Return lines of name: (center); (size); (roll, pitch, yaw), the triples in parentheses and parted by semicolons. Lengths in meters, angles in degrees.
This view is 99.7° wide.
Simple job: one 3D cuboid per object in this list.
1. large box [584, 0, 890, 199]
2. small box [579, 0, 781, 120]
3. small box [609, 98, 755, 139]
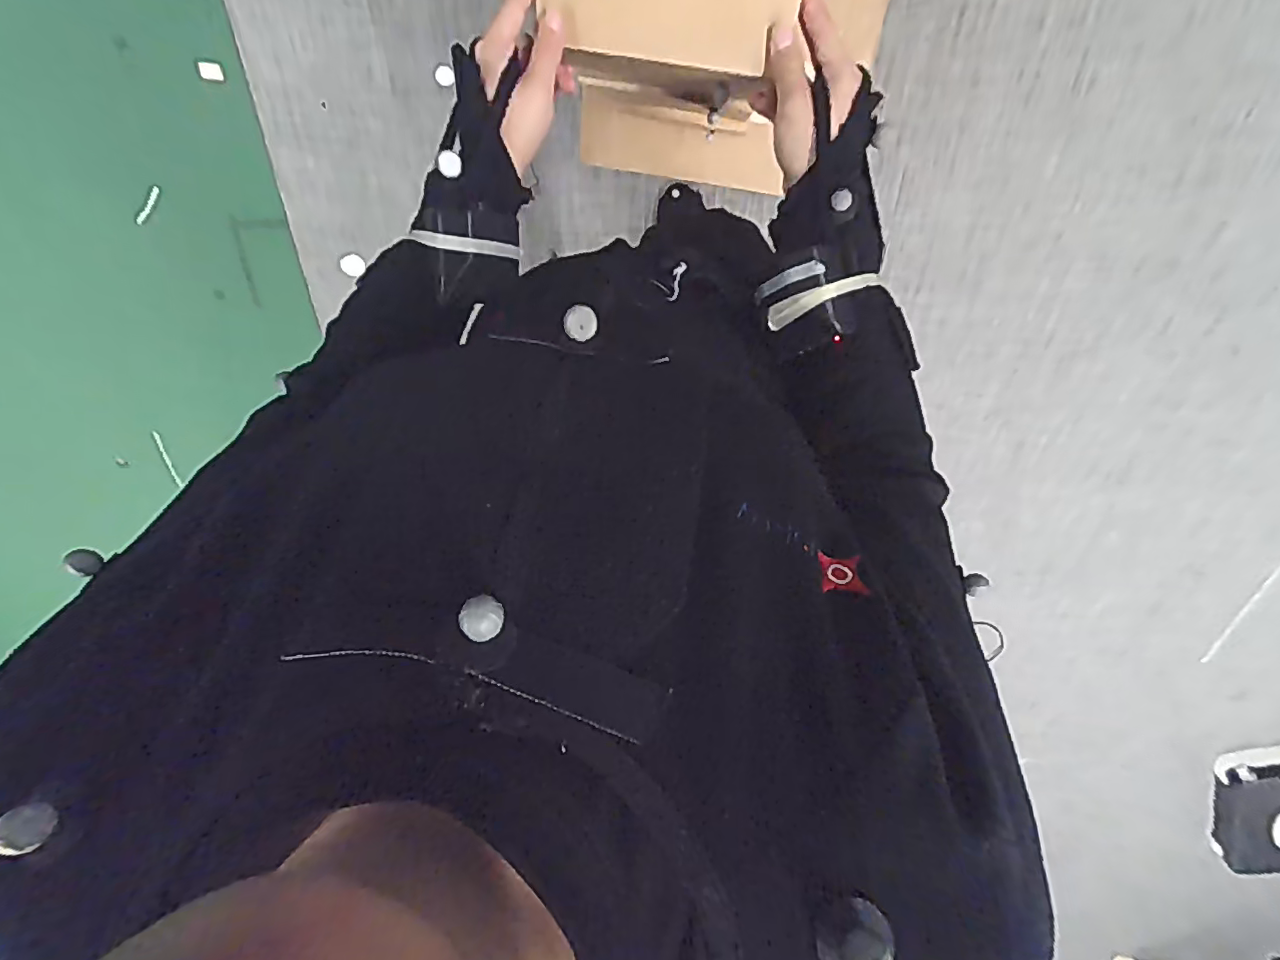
large box: (0.136, -0.669, 0.885); (0.408, 0.320, 0.320); (9, 124, 1)
small box: (0.046, -0.472, 0.539); (0.179, 0.176, 0.168); (9, 121, 1)
small box: (0.068, -0.543, 0.685); (0.179, 0.176, 0.168); (11, 121, 2)
